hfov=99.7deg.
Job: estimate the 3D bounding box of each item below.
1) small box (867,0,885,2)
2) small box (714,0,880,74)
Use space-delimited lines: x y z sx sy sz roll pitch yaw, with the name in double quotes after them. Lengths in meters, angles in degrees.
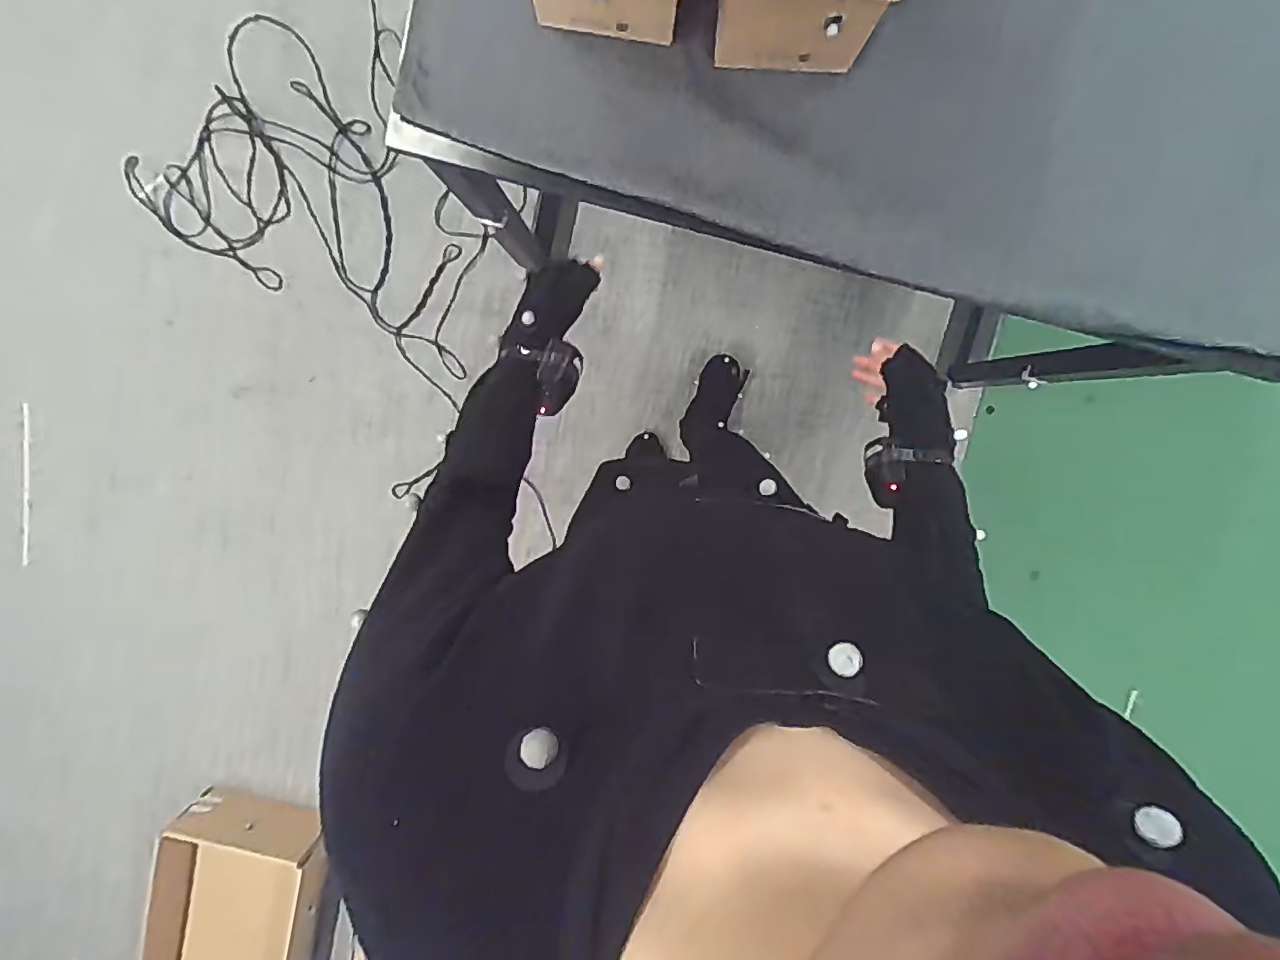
0.171 -0.527 0.419 0.168 0.176 0.179 5 97 -1 "small box"
0.174 -0.576 0.576 0.168 0.176 0.179 3 97 -1 "small box"
